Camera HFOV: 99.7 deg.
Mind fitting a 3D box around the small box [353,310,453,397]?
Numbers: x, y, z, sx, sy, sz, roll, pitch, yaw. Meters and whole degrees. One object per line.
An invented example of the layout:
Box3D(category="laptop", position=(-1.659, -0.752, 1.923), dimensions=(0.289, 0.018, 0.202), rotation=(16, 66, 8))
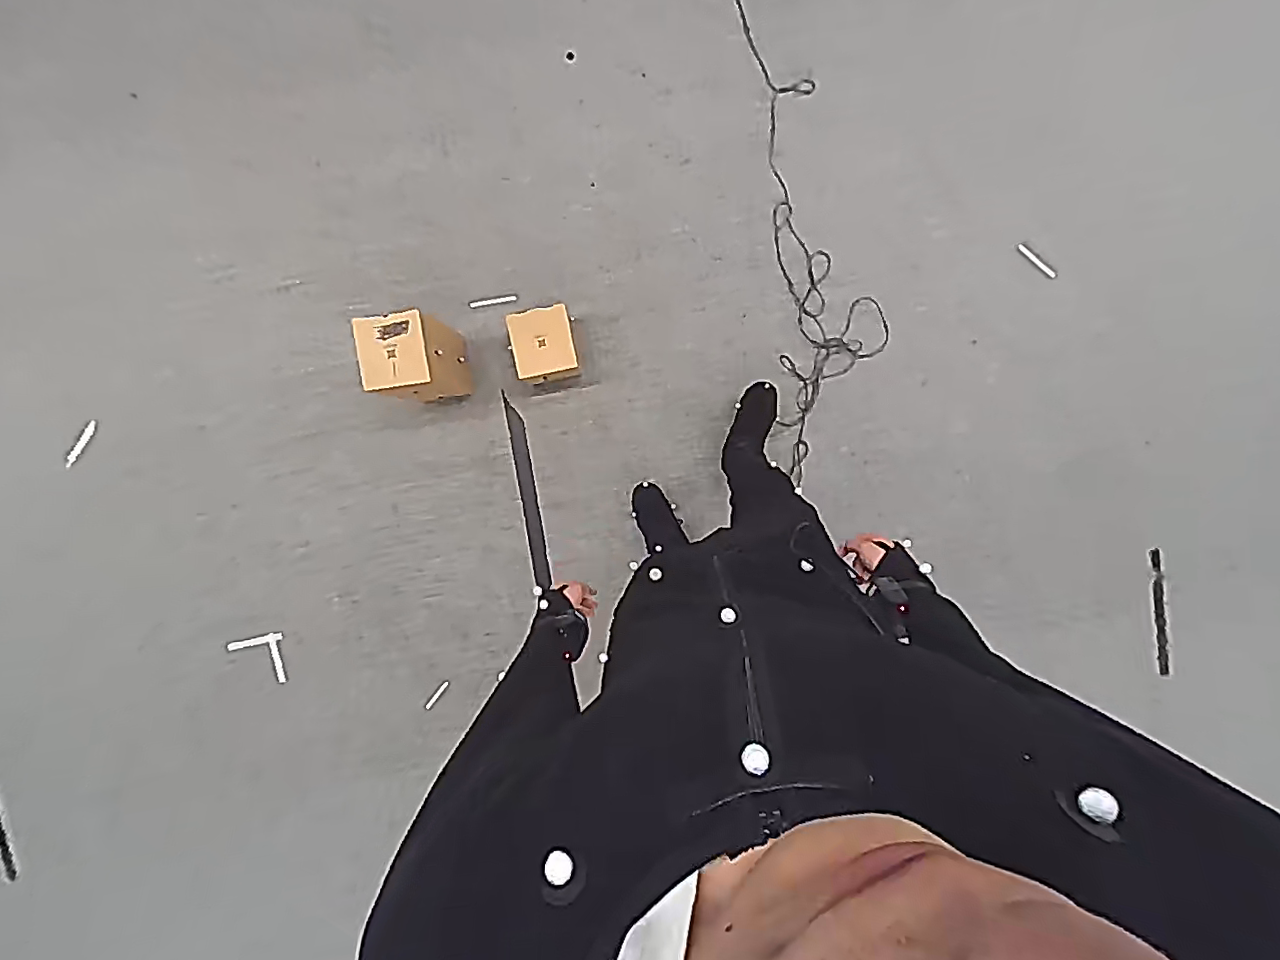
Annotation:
Box3D(category="small box", position=(-0.592, -0.312, 1.368), dimensions=(0.168, 0.176, 0.179), rotation=(-8, 94, 1))

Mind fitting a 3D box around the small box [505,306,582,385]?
Box3D(category="small box", position=(-0.265, -0.373, 1.531), dimensions=(0.168, 0.176, 0.179), rotation=(-12, 93, 1))
